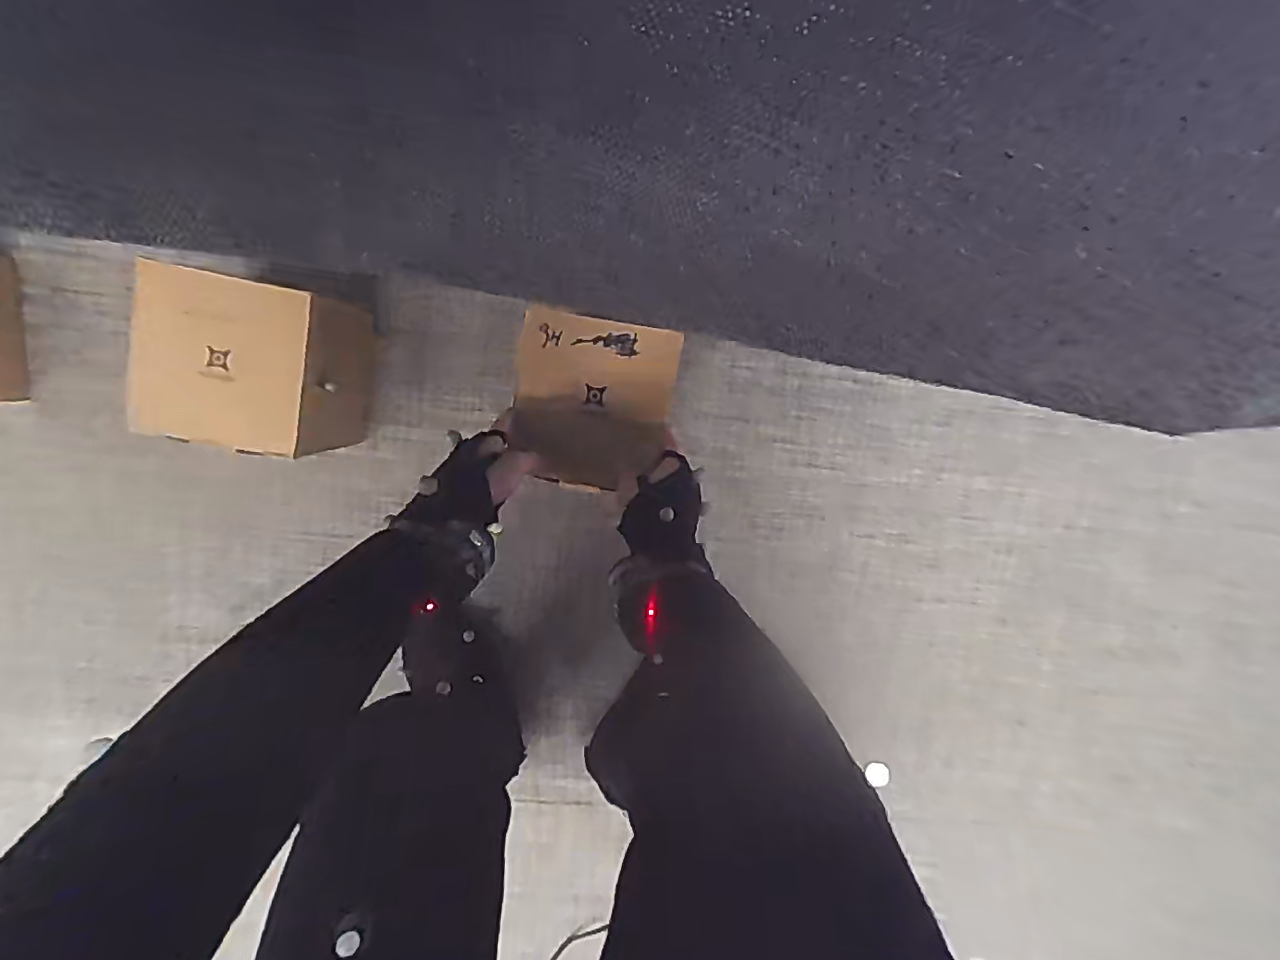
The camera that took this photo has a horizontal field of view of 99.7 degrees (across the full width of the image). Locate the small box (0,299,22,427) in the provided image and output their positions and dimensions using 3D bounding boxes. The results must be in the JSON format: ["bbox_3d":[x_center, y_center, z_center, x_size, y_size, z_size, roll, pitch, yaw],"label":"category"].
[{"bbox_3d":[-0.843,-0.144,0.581,0.168,0.176,0.179,3,100,-4],"label":"small box"}]
